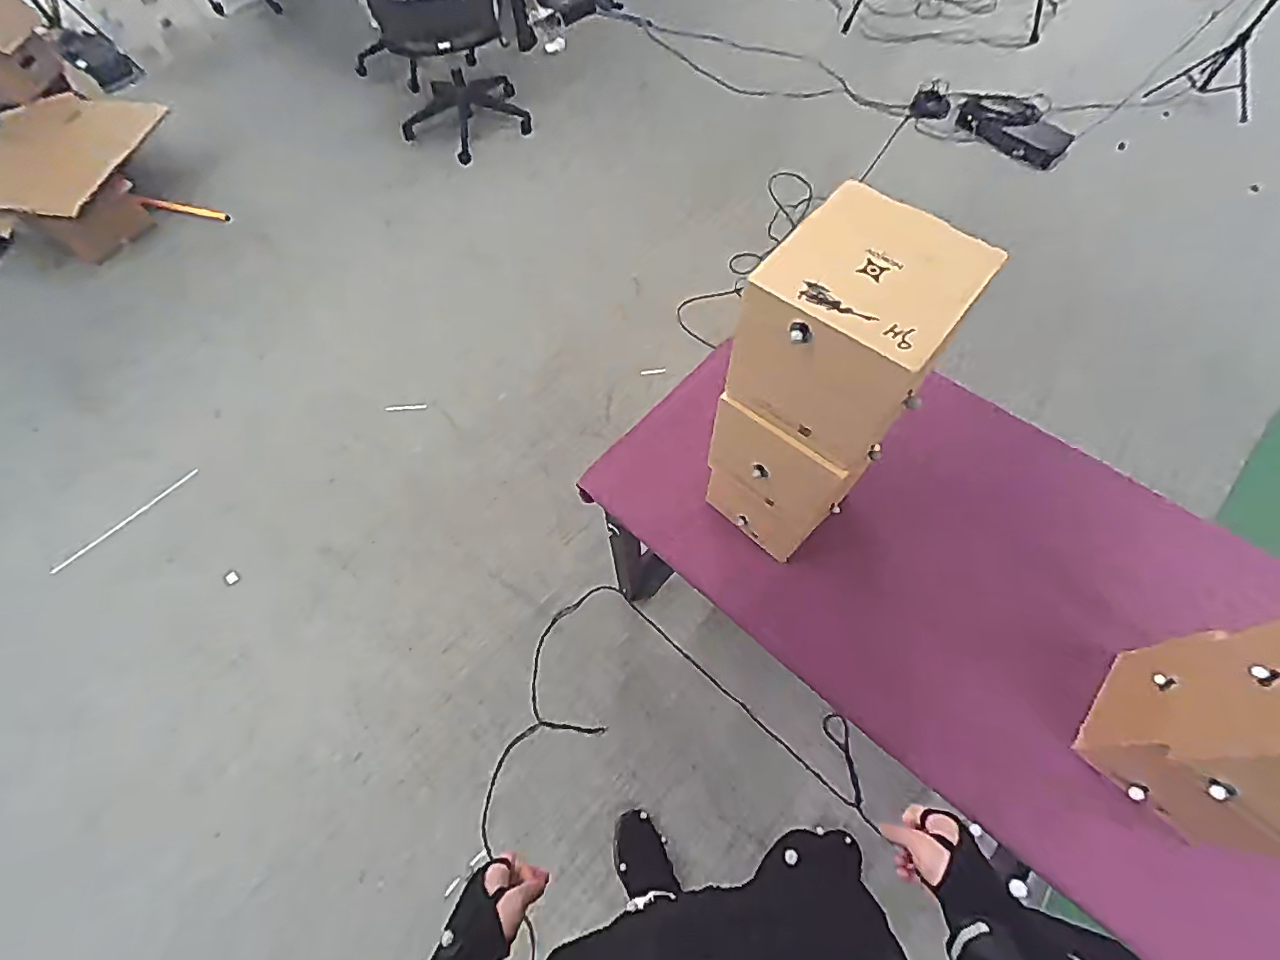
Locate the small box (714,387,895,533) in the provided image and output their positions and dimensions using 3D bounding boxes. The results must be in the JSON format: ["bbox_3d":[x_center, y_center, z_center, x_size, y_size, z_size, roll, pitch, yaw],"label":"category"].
[{"bbox_3d":[0.208,-0.062,0.692,0.168,0.176,0.179,38,70,19],"label":"small box"}]

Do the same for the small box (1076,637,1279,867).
[{"bbox_3d":[0.693,0.327,0.660,0.168,0.176,0.179,40,70,21],"label":"small box"}]

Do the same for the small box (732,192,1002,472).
[{"bbox_3d":[0.210,-0.143,0.549,0.168,0.176,0.179,37,69,19],"label":"small box"}]
